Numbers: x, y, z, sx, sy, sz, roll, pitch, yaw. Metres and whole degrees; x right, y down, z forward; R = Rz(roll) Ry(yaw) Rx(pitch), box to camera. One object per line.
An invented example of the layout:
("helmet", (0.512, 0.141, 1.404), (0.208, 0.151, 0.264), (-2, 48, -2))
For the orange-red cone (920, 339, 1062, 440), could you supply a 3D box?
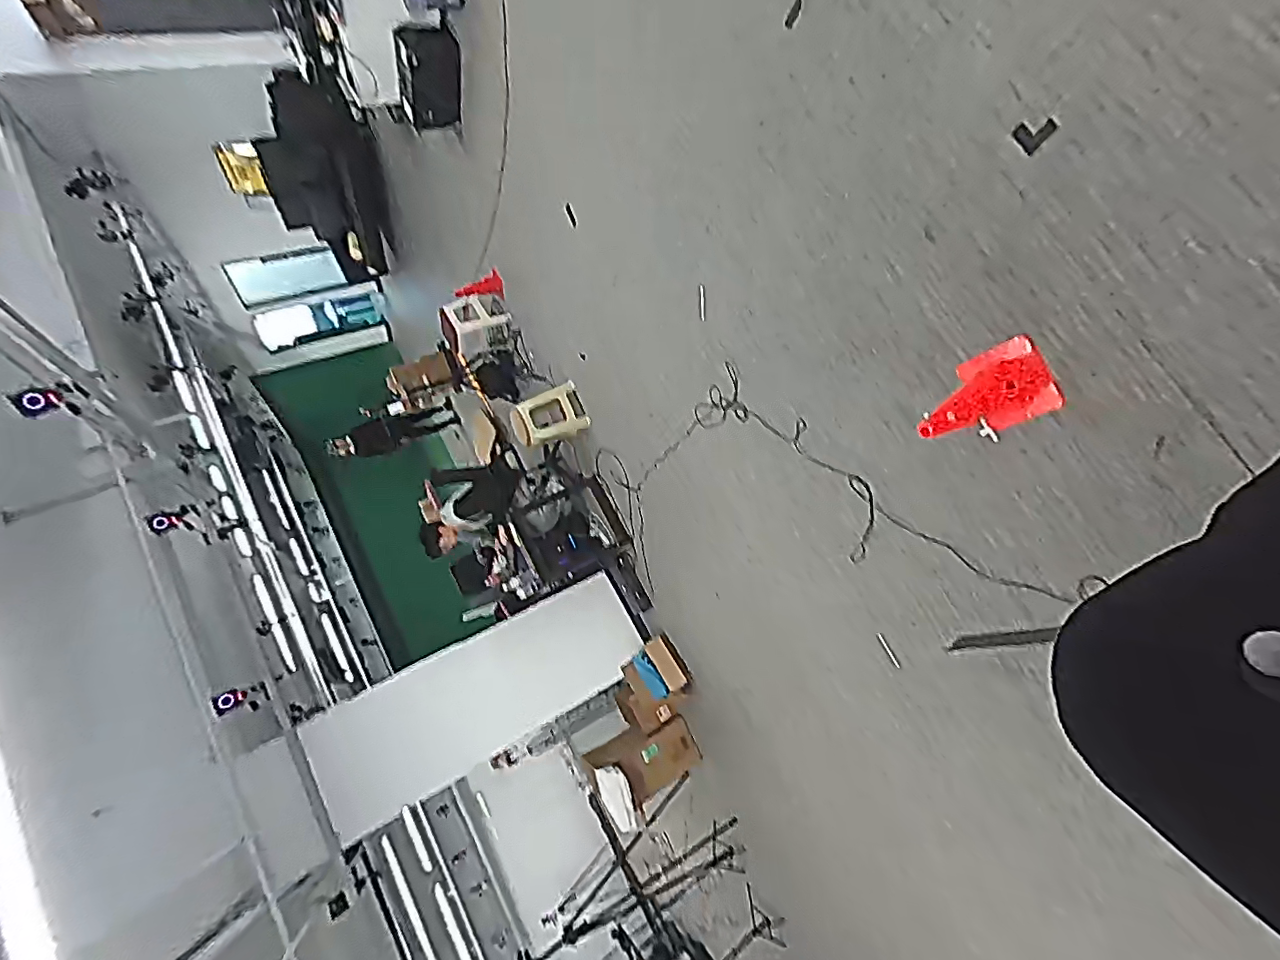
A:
("orange-red cone", (0.800, -0.177, 1.309), (0.198, 0.360, 0.199), (63, 154, 4))
